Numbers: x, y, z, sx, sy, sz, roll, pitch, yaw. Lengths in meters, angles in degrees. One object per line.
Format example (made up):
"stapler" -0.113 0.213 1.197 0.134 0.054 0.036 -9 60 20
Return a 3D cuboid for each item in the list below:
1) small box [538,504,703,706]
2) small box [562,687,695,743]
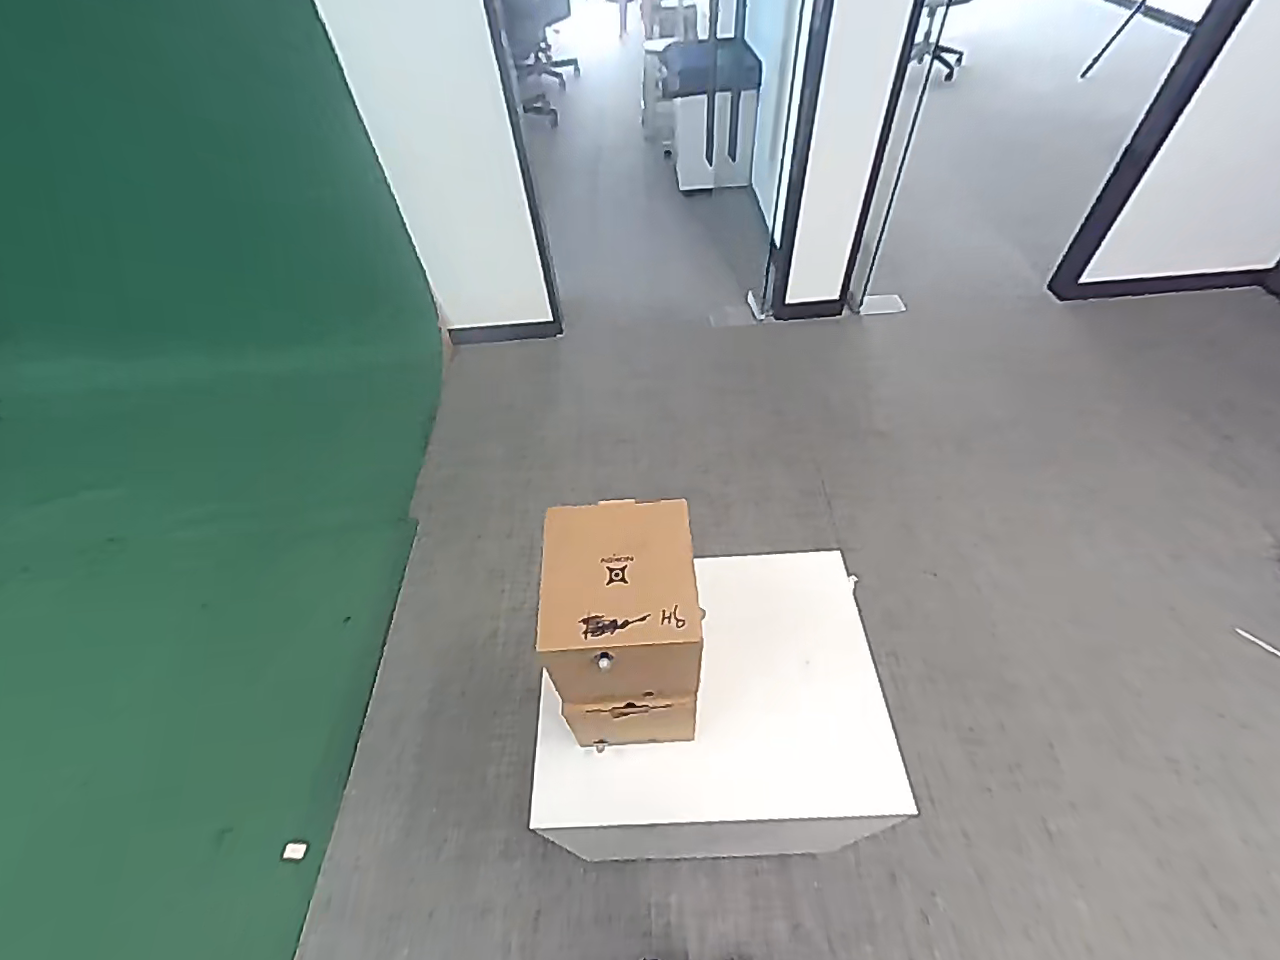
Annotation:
"small box" -0.018 0.151 0.647 0.168 0.176 0.179 -5 50 2
"small box" -0.010 0.262 0.766 0.168 0.176 0.179 -4 50 1
